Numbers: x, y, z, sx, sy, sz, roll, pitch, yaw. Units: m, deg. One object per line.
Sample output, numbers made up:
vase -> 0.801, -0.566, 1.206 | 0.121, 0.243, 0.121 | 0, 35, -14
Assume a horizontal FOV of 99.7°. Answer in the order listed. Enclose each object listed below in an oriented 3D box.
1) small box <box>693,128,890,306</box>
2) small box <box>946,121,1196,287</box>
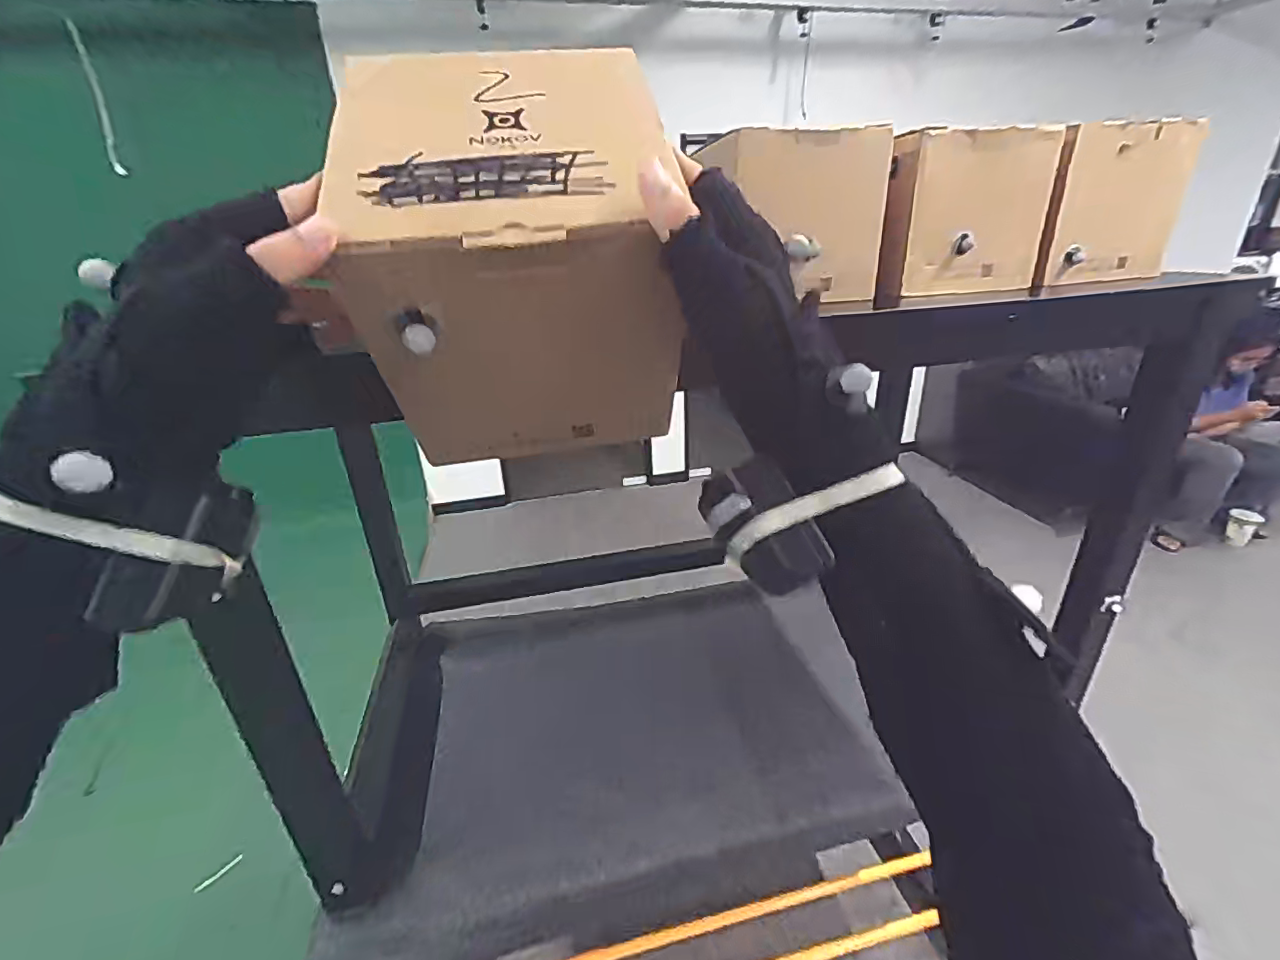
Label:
small box -> 0.161, -0.299, 0.639 | 0.168, 0.176, 0.179 | -6, 24, -9
small box -> 0.535, -0.345, 0.701 | 0.168, 0.176, 0.179 | -7, 23, -8
